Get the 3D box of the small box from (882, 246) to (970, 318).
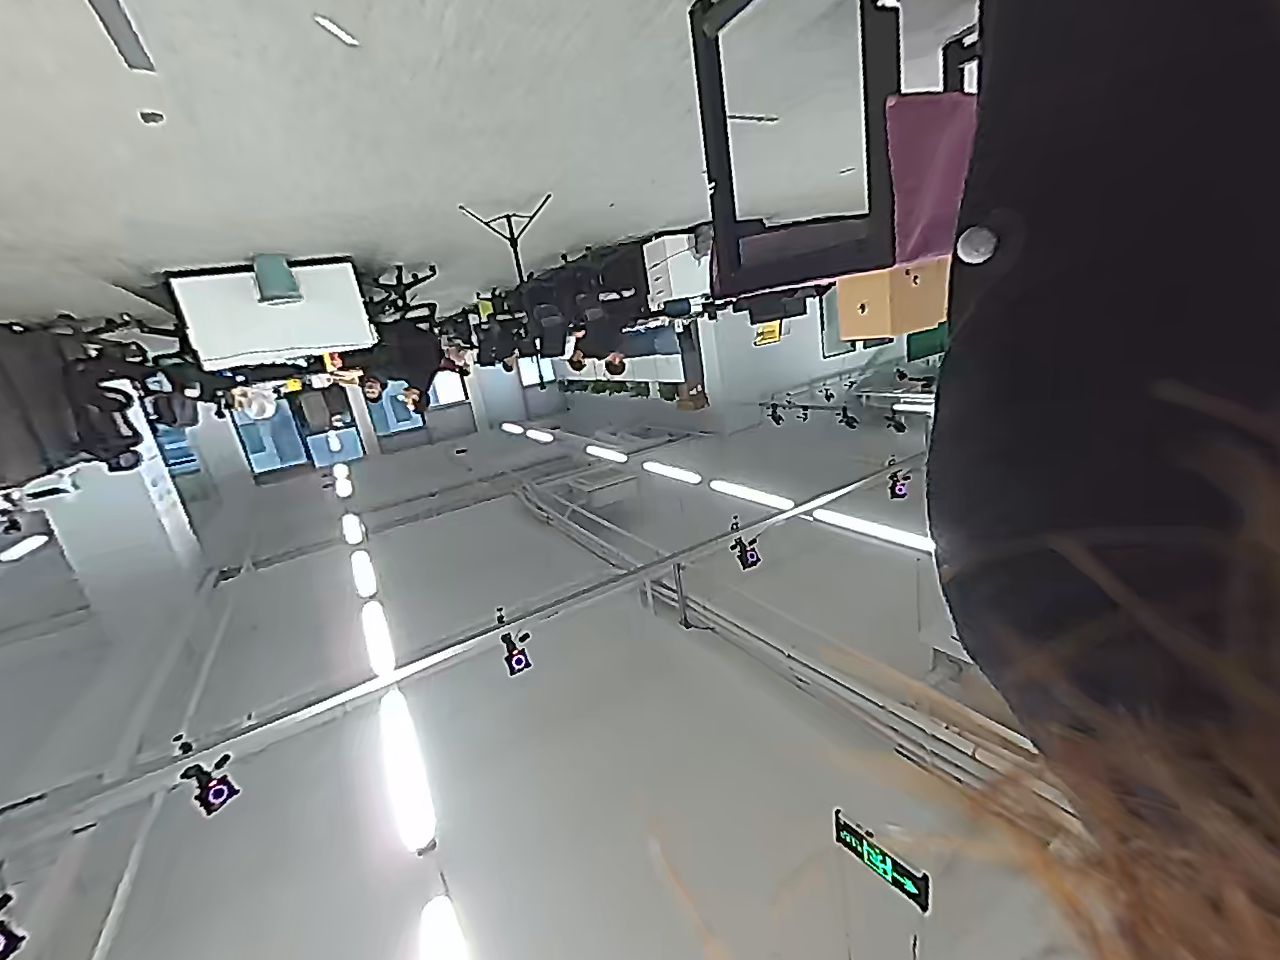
[{"bbox_3d":[0.833,-0.576,1.575,0.168,0.176,0.179,-18,-163,-22],"label":"small box"}]
